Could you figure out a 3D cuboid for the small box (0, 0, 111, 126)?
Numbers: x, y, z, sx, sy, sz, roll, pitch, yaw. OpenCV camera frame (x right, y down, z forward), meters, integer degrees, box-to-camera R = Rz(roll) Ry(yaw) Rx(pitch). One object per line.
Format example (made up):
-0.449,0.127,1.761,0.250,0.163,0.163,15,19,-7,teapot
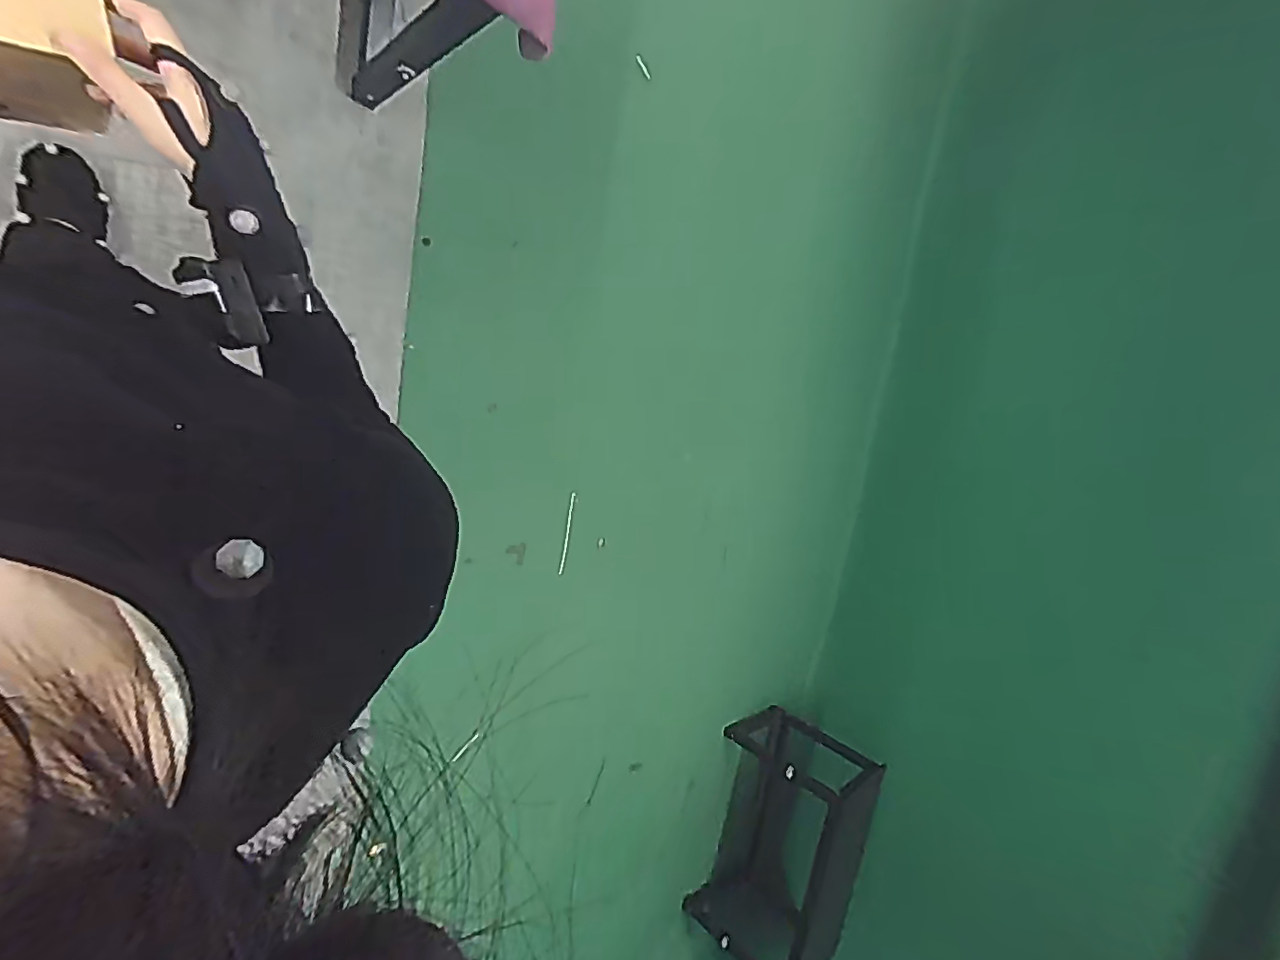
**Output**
-0.451,-0.346,0.325,0.168,0.176,0.179,-16,110,-44,small box
